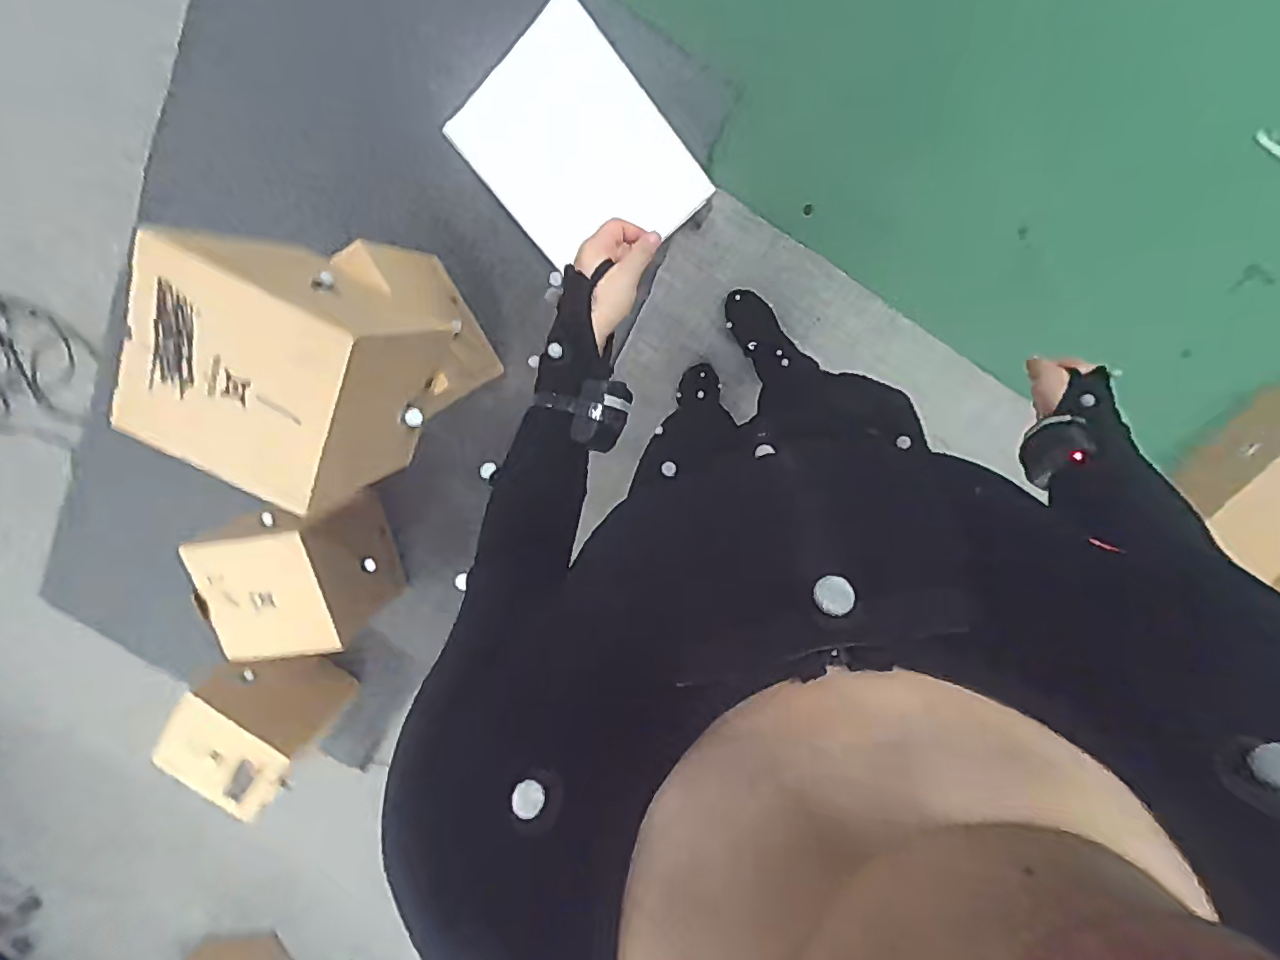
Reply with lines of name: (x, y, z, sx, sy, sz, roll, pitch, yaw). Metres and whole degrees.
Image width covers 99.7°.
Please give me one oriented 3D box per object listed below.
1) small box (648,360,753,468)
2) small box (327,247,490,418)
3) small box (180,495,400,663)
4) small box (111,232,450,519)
small box: (0.158, -0.163, 1.341, 0.179, 0.168, 0.176, -46, 129, -6)
small box: (-0.303, -0.153, 0.646, 0.179, 0.176, 0.168, -27, 103, 15)
small box: (-0.465, 0.130, 0.755, 0.179, 0.176, 0.168, -8, 106, 9)
small box: (-0.307, -0.096, 0.491, 0.179, 0.176, 0.168, 26, 110, -2)
